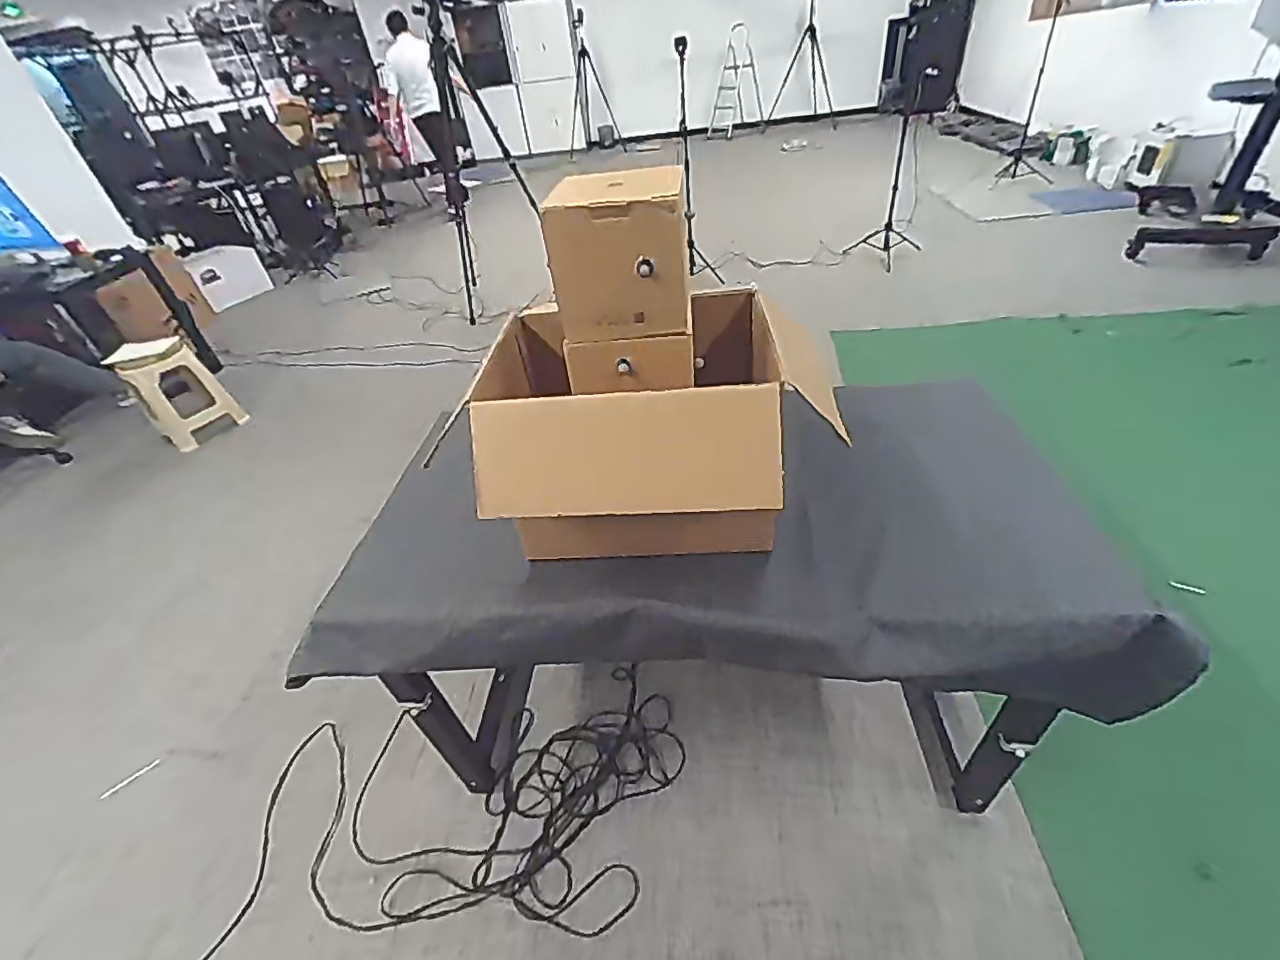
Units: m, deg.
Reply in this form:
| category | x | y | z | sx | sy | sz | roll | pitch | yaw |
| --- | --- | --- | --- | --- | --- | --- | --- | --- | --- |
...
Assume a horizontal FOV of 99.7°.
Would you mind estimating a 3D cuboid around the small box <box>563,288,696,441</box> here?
| category | x | y | z | sx | sy | sz | roll | pitch | yaw |
| --- | --- | --- | --- | --- | --- | --- | --- | --- | --- |
| small box | -0.005 | -0.173 | 0.820 | 0.179 | 0.176 | 0.168 | -3 | 39 | 6 |

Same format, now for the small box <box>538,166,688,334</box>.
| category | x | y | z | sx | sy | sz | roll | pitch | yaw |
| --- | --- | --- | --- | --- | --- | --- | --- | --- | --- |
| small box | -0.022 | -0.303 | 0.723 | 0.168 | 0.176 | 0.179 | -1 | 39 | 7 |
